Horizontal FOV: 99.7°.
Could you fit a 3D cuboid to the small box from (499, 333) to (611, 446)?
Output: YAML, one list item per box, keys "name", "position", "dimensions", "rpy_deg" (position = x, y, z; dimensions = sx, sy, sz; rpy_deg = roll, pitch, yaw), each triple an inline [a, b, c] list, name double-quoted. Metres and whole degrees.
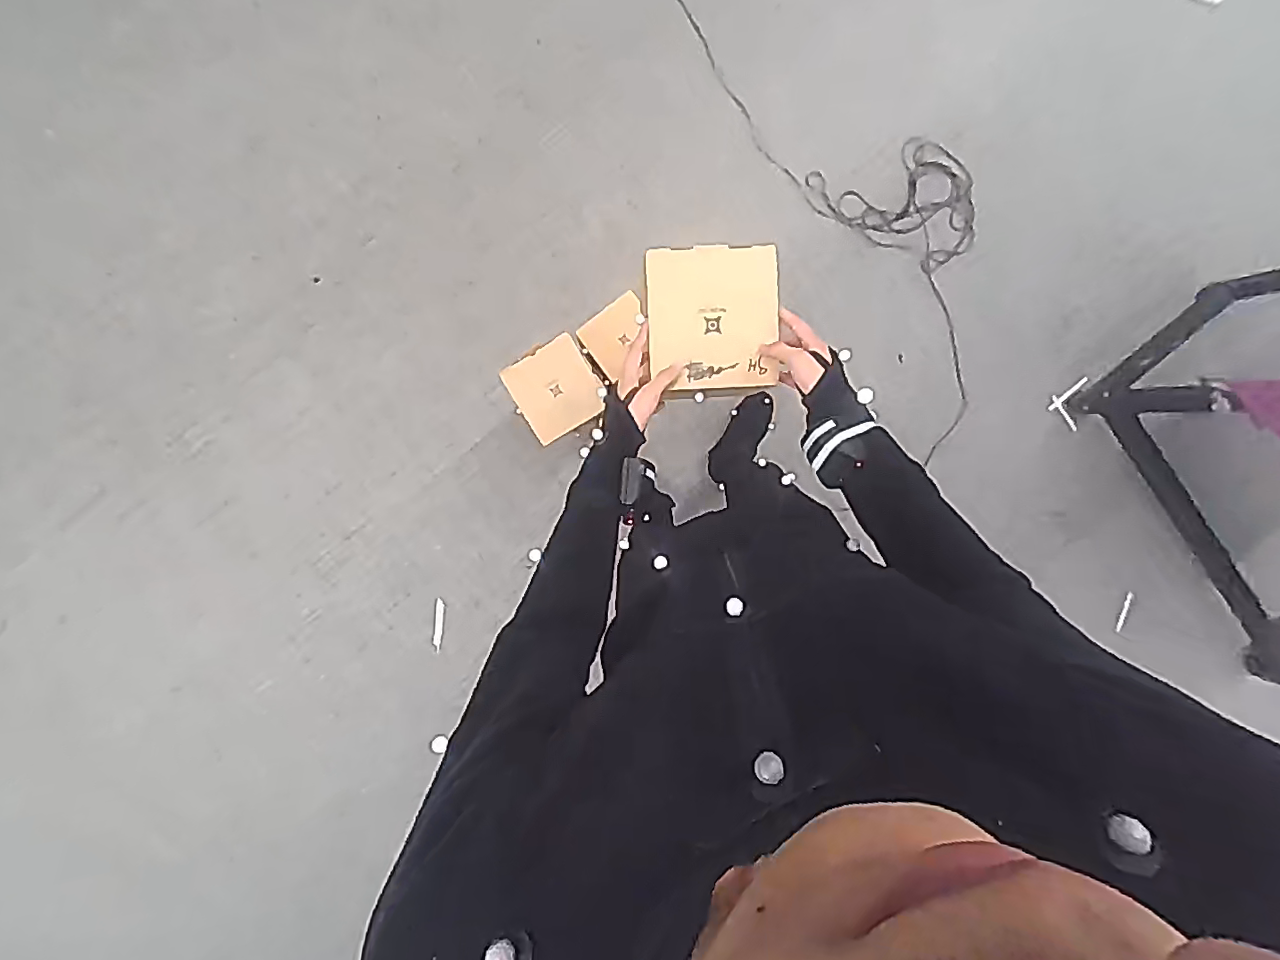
- name: "small box"
  position: [-0.176, -0.188, 1.166]
  dimensions: [0.168, 0.176, 0.179]
  rpy_deg: [-31, 97, 1]
